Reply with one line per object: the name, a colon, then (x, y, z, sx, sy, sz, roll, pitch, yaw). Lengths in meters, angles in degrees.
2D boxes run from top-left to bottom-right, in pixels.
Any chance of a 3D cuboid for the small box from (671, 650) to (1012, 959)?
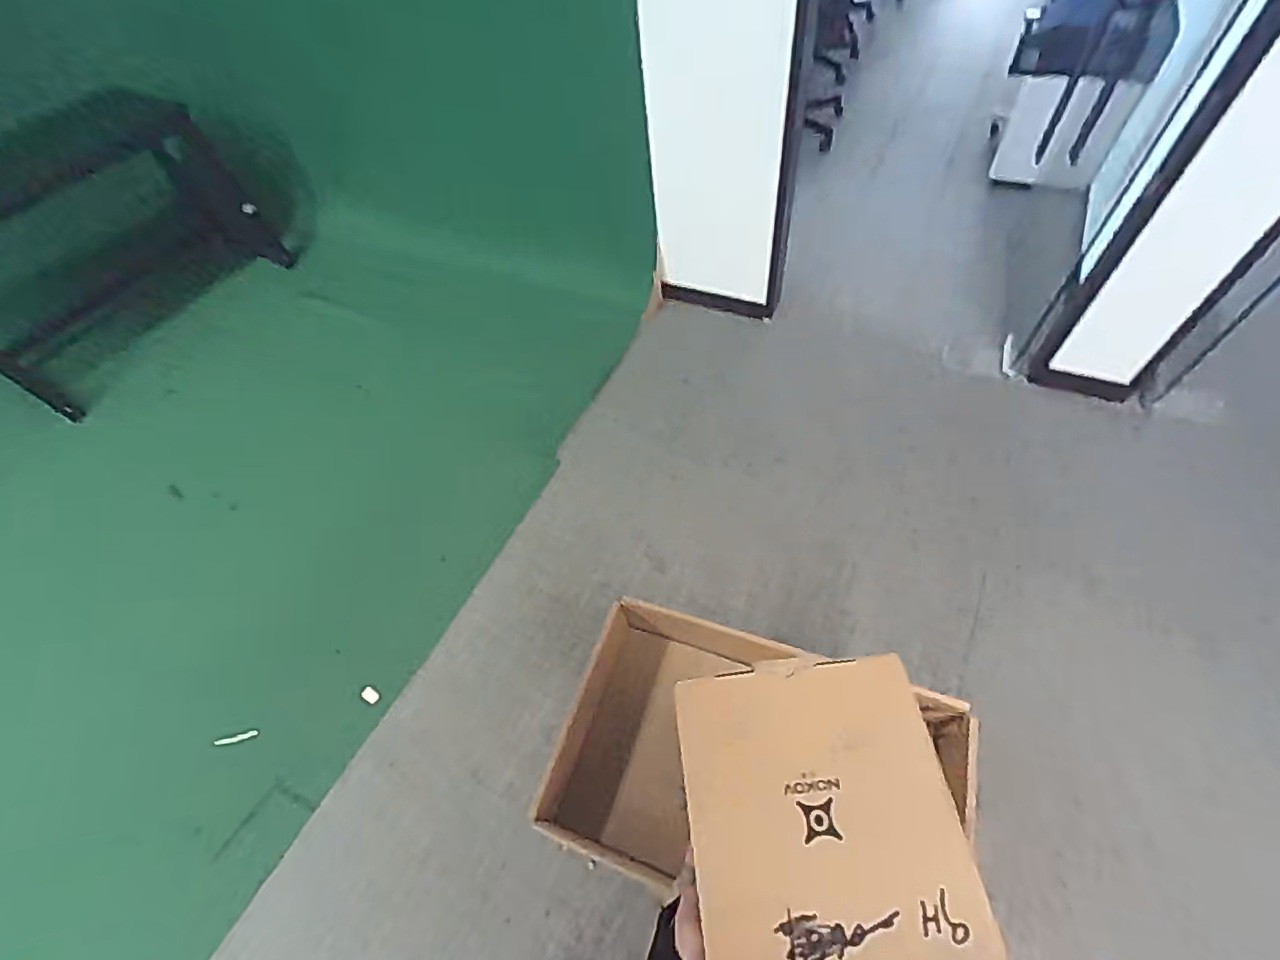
small box: (0.115, 0.244, 0.395, 0.168, 0.176, 0.179, -8, 55, 2)
